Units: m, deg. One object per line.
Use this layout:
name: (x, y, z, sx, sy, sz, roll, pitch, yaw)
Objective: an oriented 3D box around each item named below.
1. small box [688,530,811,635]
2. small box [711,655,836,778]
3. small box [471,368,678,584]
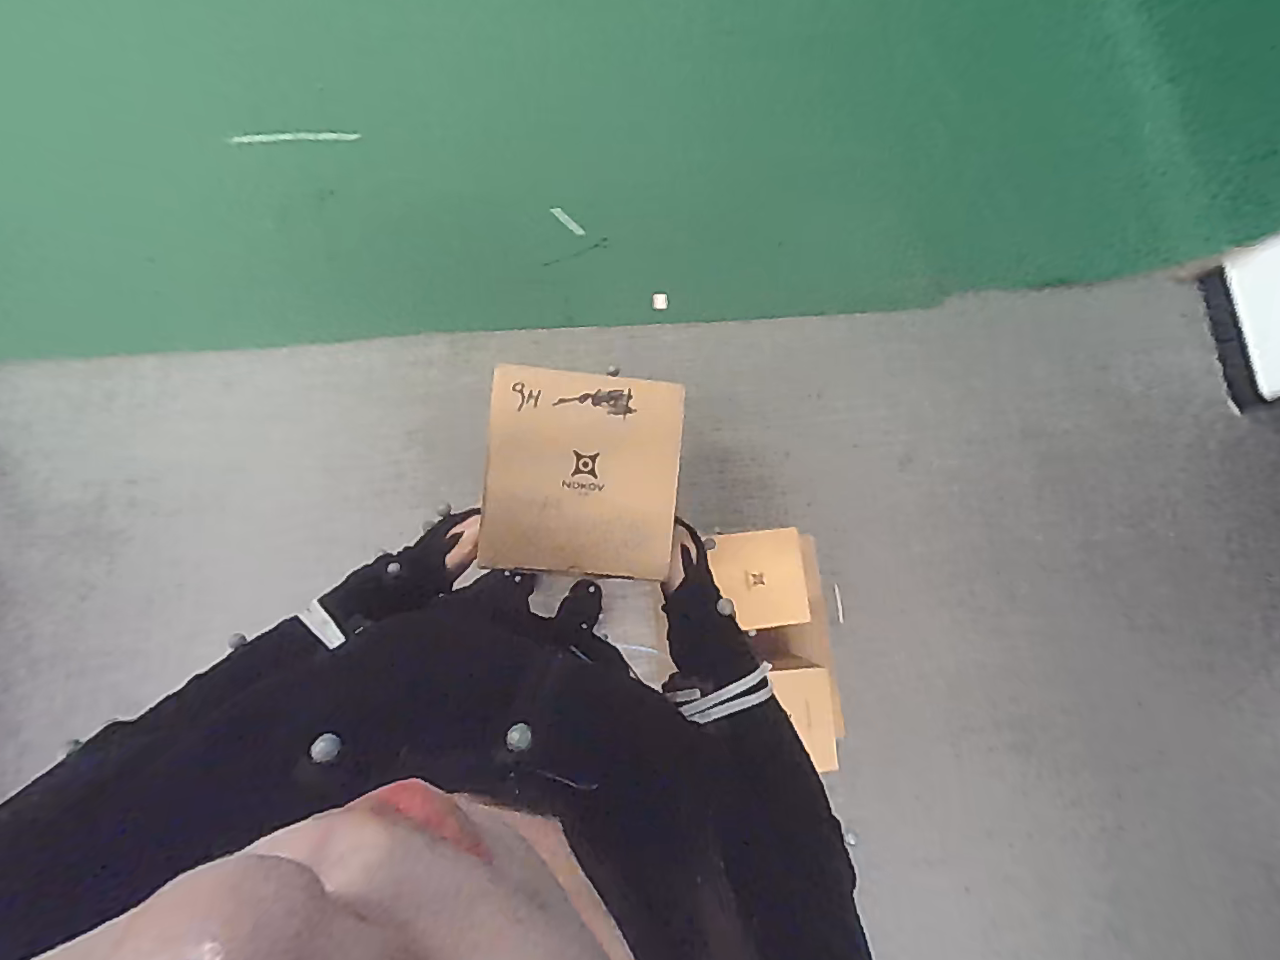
small box: (0.195, 0.182, 1.004, 0.179, 0.176, 0.168, -6, 84, -4)
small box: (0.227, 0.414, 0.972, 0.179, 0.176, 0.168, -1, 81, -6)
small box: (-0.063, -0.005, 0.542, 0.168, 0.176, 0.179, 5, 92, -7)
